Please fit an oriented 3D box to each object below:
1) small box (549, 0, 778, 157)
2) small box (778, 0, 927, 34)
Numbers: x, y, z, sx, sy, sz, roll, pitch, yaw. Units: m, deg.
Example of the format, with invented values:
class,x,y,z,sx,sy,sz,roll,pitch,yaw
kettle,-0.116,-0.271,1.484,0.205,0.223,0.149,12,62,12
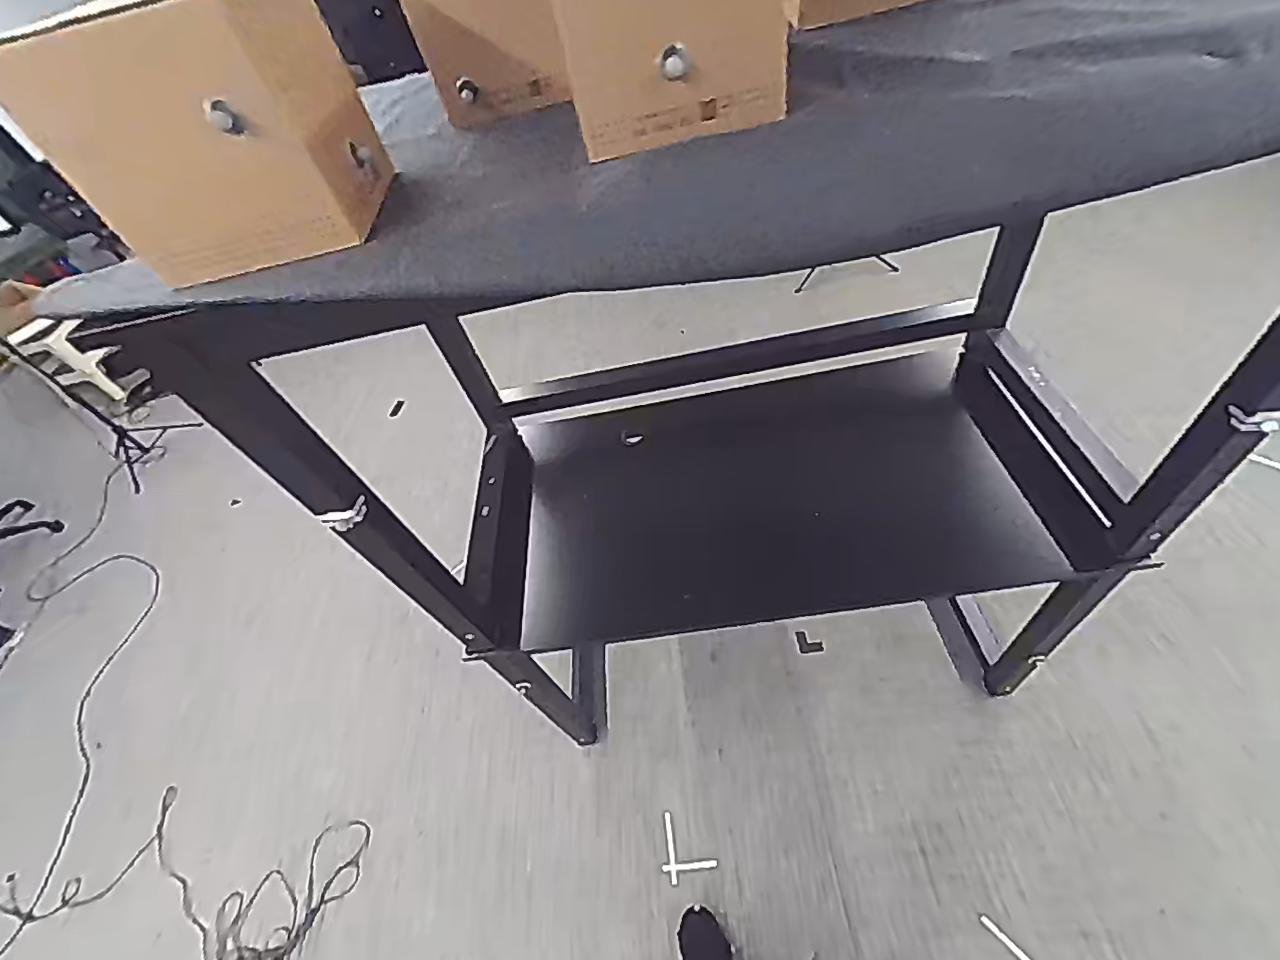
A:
class,x,y,z,sx,sy,sz,roll,pitch,yaw
small box,0.018,-0.397,0.445,0.168,0.176,0.179,-8,49,9
small box,0.240,-0.608,0.564,0.179,0.176,0.168,-8,50,9
